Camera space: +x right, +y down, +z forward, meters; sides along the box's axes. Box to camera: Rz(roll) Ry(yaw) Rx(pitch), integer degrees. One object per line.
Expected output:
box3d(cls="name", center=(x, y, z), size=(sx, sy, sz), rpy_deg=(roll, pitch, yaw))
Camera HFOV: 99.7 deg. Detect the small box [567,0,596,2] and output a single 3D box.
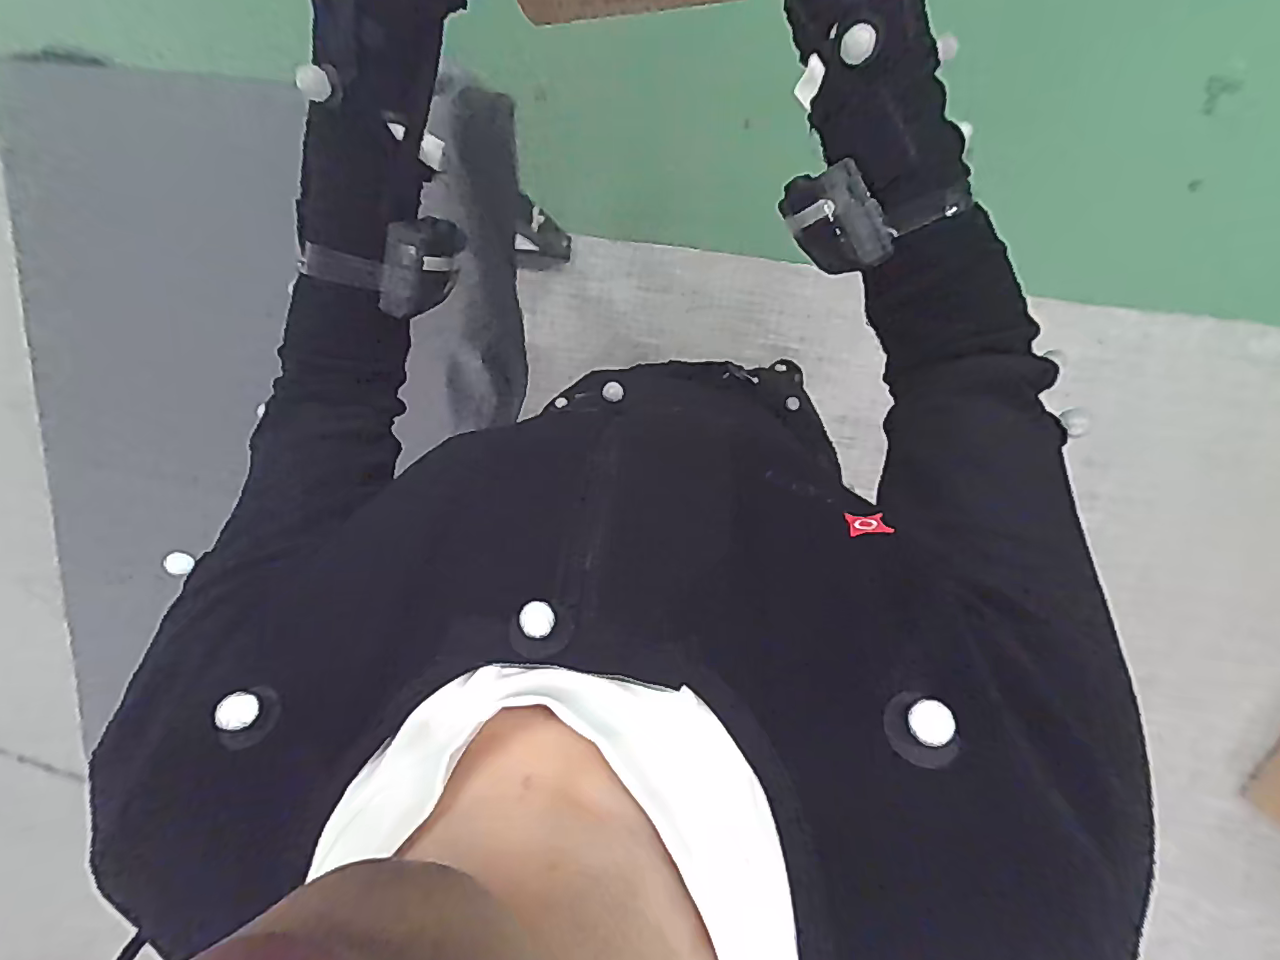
box3d(cls="small box", center=(-0.009, -0.409, 0.298), size=(0.168, 0.176, 0.179), rpy_deg=(-1, 105, 7))
